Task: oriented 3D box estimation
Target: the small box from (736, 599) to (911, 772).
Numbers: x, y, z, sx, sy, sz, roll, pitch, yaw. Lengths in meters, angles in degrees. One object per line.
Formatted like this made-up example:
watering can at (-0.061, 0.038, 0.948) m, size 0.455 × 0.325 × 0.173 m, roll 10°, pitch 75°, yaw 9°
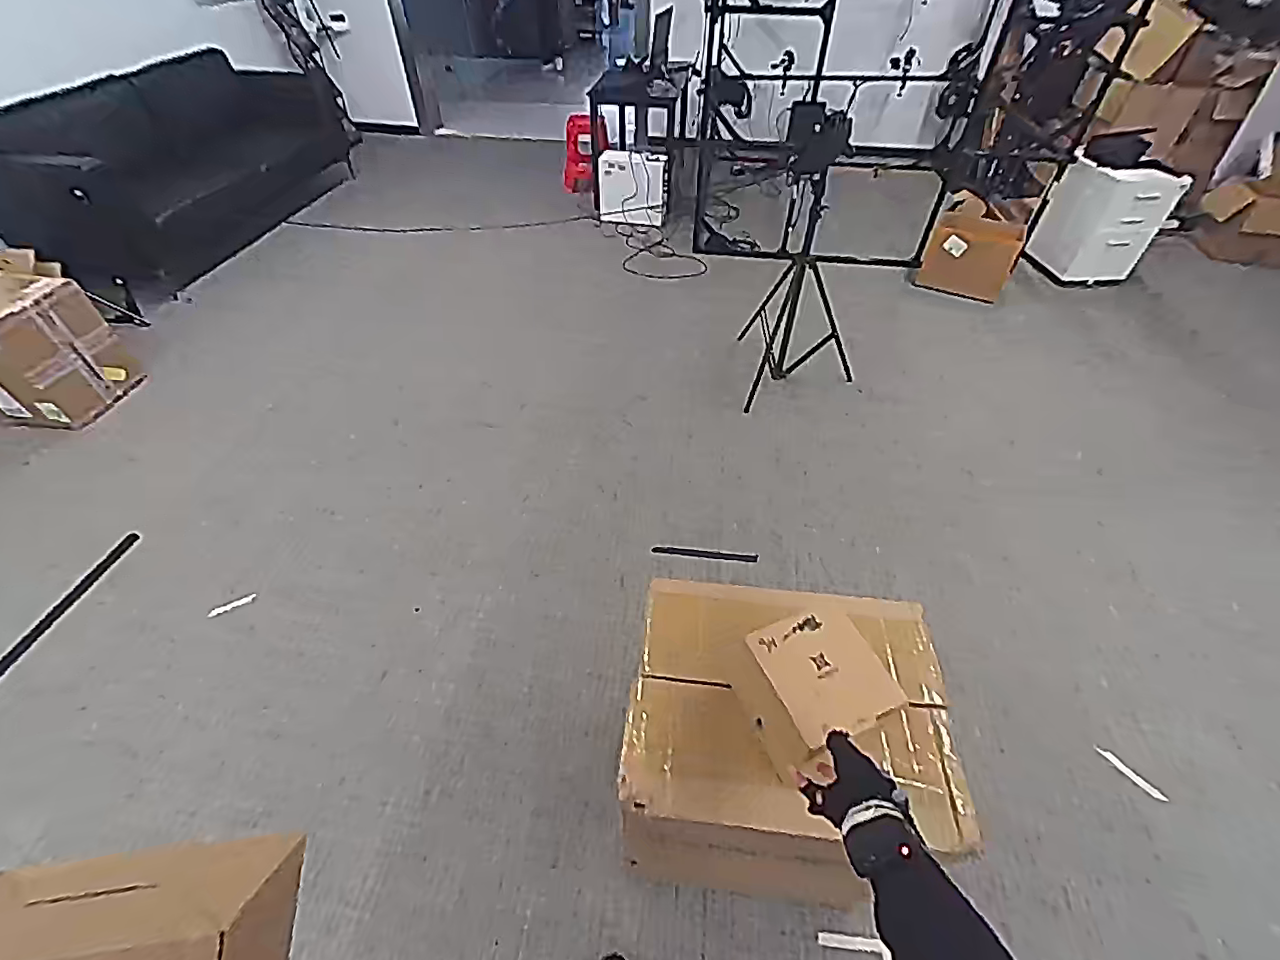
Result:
small box at (0.265, 0.319, 0.824) m, size 0.168 × 0.176 × 0.179 m, roll -17°, pitch 50°, yaw -15°
